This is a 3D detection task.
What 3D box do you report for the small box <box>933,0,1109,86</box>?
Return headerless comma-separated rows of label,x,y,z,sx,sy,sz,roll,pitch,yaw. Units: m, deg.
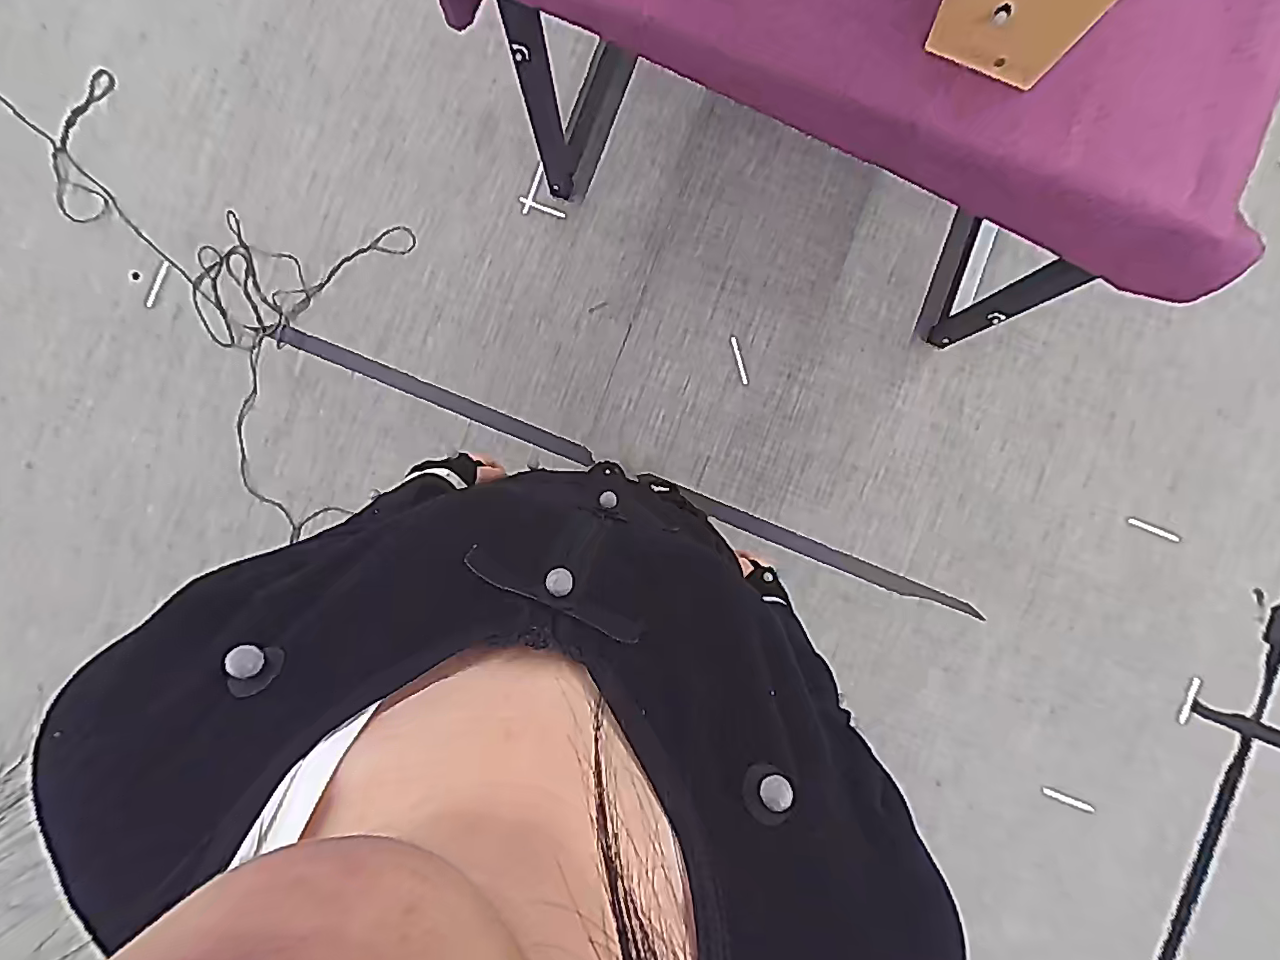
small box,0.528,-0.683,0.719,0.168,0.176,0.179,22,88,0
